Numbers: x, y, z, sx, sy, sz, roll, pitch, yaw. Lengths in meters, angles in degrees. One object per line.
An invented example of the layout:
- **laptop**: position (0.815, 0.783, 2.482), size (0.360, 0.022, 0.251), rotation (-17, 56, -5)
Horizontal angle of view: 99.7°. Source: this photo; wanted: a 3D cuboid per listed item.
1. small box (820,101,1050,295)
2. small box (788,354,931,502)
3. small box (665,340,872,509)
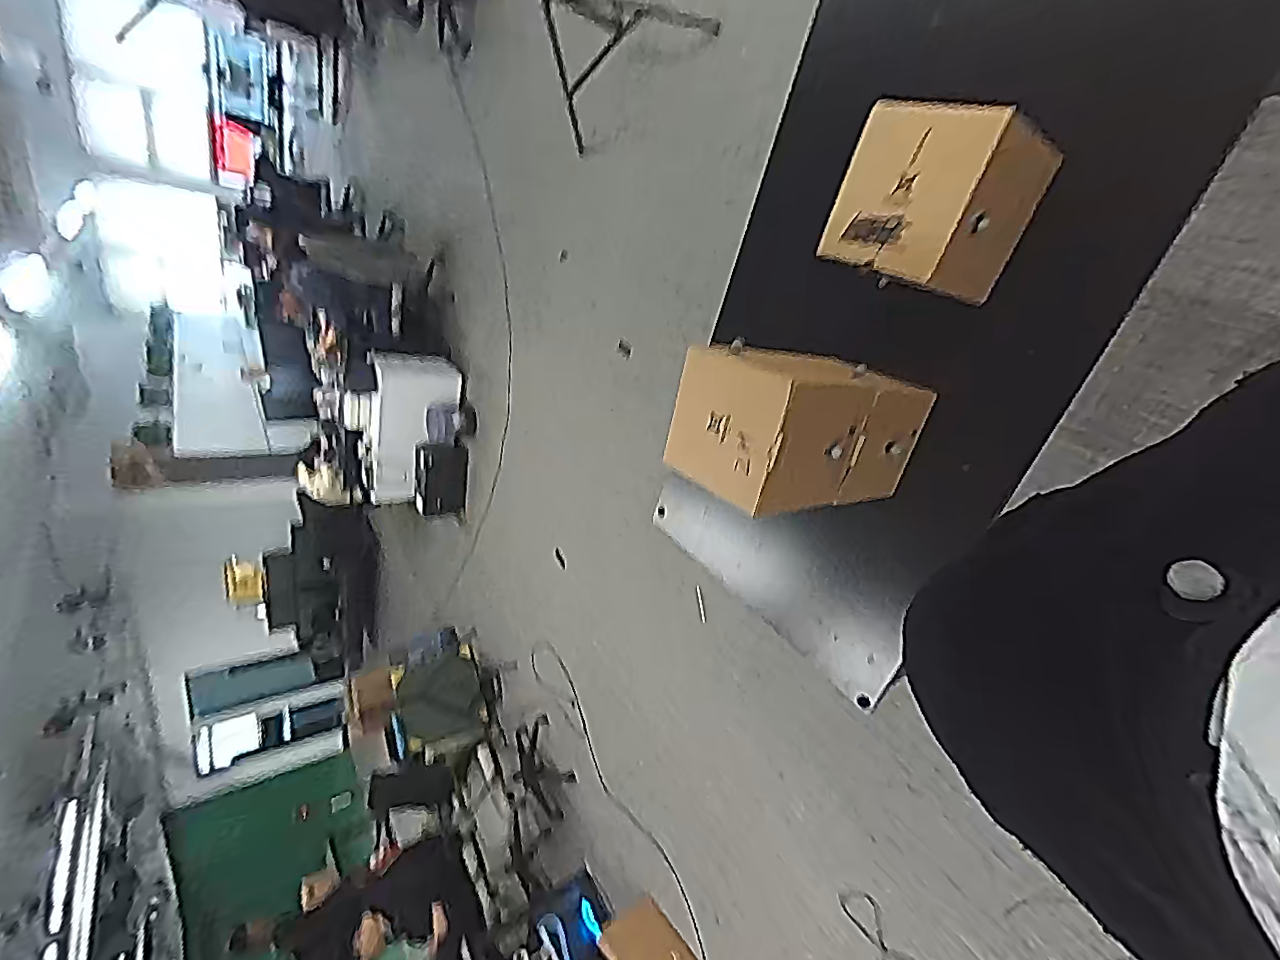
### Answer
- **small box**: position (0.370, -0.347, 0.684), size (0.168, 0.176, 0.179), rotation (42, 125, 41)
- **small box**: position (0.296, -0.086, 0.811), size (0.179, 0.176, 0.168), rotation (36, 122, 44)
- **small box**: position (0.163, -0.077, 0.712), size (0.179, 0.176, 0.168), rotation (35, 121, 45)
